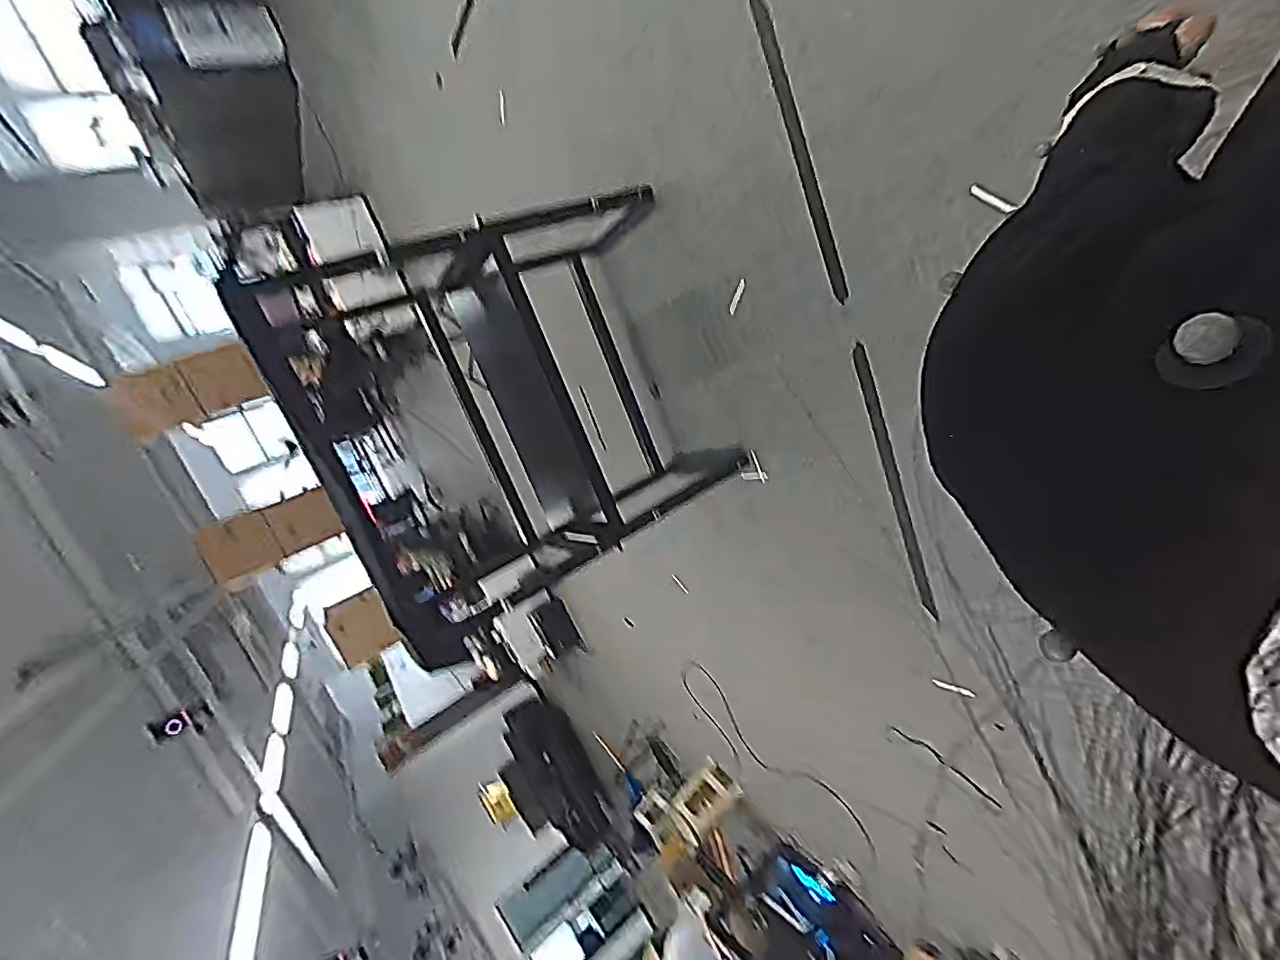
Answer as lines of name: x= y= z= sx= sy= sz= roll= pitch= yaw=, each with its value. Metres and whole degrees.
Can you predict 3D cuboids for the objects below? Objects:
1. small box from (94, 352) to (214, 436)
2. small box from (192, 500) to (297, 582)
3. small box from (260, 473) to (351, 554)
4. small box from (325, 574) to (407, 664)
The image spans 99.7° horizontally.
small box: x=-1.259 y=-0.225 z=1.422 sx=0.179 sy=0.176 sz=0.168 roll=6 pitch=122 yaw=58
small box: x=-1.100 y=0.166 z=1.518 sx=0.179 sy=0.176 sz=0.168 roll=64 pitch=155 yaw=-5
small box: x=-0.968 y=0.095 z=1.582 sx=0.168 sy=0.176 sz=0.179 roll=-6 pitch=109 yaw=62
small box: x=-0.836 y=0.417 z=1.653 sx=0.168 sy=0.176 sz=0.179 roll=16 pitch=128 yaw=57
